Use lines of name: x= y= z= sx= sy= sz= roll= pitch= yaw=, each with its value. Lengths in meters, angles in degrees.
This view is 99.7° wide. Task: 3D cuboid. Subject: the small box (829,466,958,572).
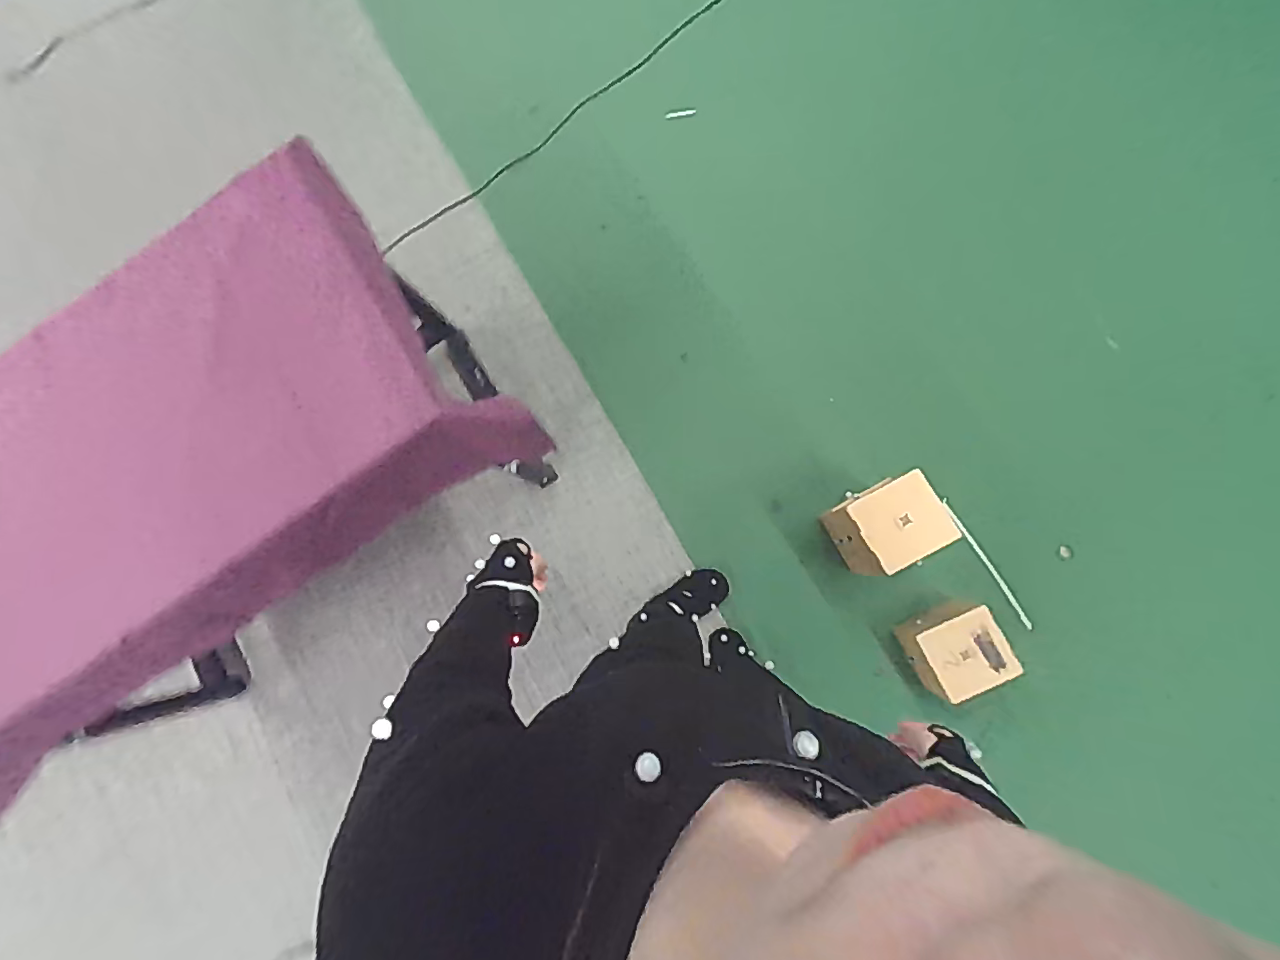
small box: x=0.550 y=0.090 z=1.200 sx=0.179 sy=0.176 sz=0.168 roll=-29 pitch=79 yaw=3

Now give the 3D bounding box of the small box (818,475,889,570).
small box: x=0.573 y=0.110 z=1.360 sx=0.168 sy=0.176 sz=0.179 roll=-29 pitch=78 yaw=2
